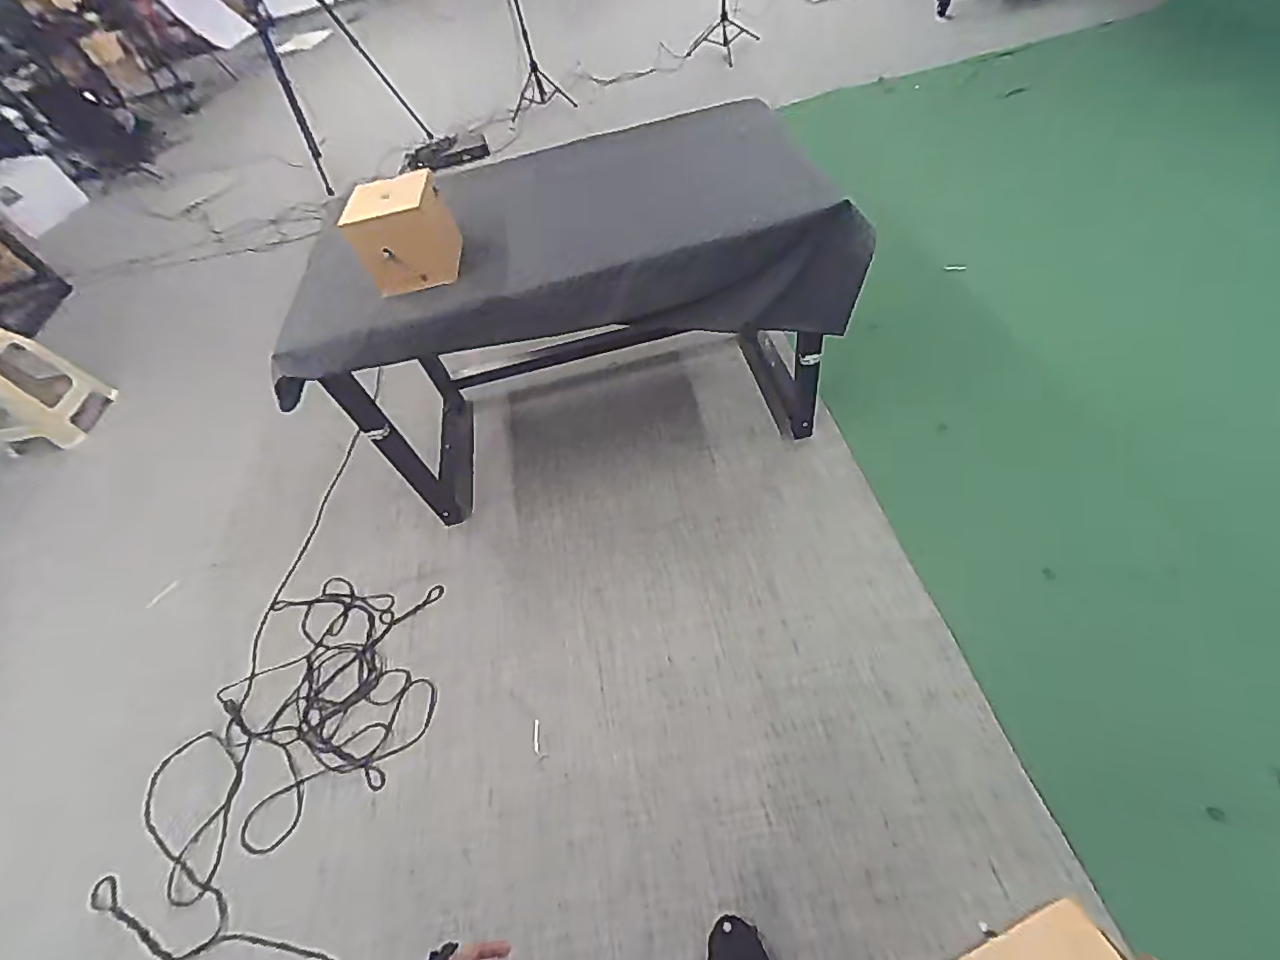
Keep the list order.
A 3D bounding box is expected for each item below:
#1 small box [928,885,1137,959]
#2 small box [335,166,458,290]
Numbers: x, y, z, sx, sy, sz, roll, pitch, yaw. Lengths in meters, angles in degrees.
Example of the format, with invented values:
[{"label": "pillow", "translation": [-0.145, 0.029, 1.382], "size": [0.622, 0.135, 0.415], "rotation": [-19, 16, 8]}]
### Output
[{"label": "small box", "translation": [0.378, 0.525, 0.506], "size": [0.179, 0.176, 0.168], "rotation": [-19, 43, -12]}, {"label": "small box", "translation": [-0.498, -0.521, 1.138], "size": [0.168, 0.176, 0.179], "rotation": [-12, 51, 3]}]
